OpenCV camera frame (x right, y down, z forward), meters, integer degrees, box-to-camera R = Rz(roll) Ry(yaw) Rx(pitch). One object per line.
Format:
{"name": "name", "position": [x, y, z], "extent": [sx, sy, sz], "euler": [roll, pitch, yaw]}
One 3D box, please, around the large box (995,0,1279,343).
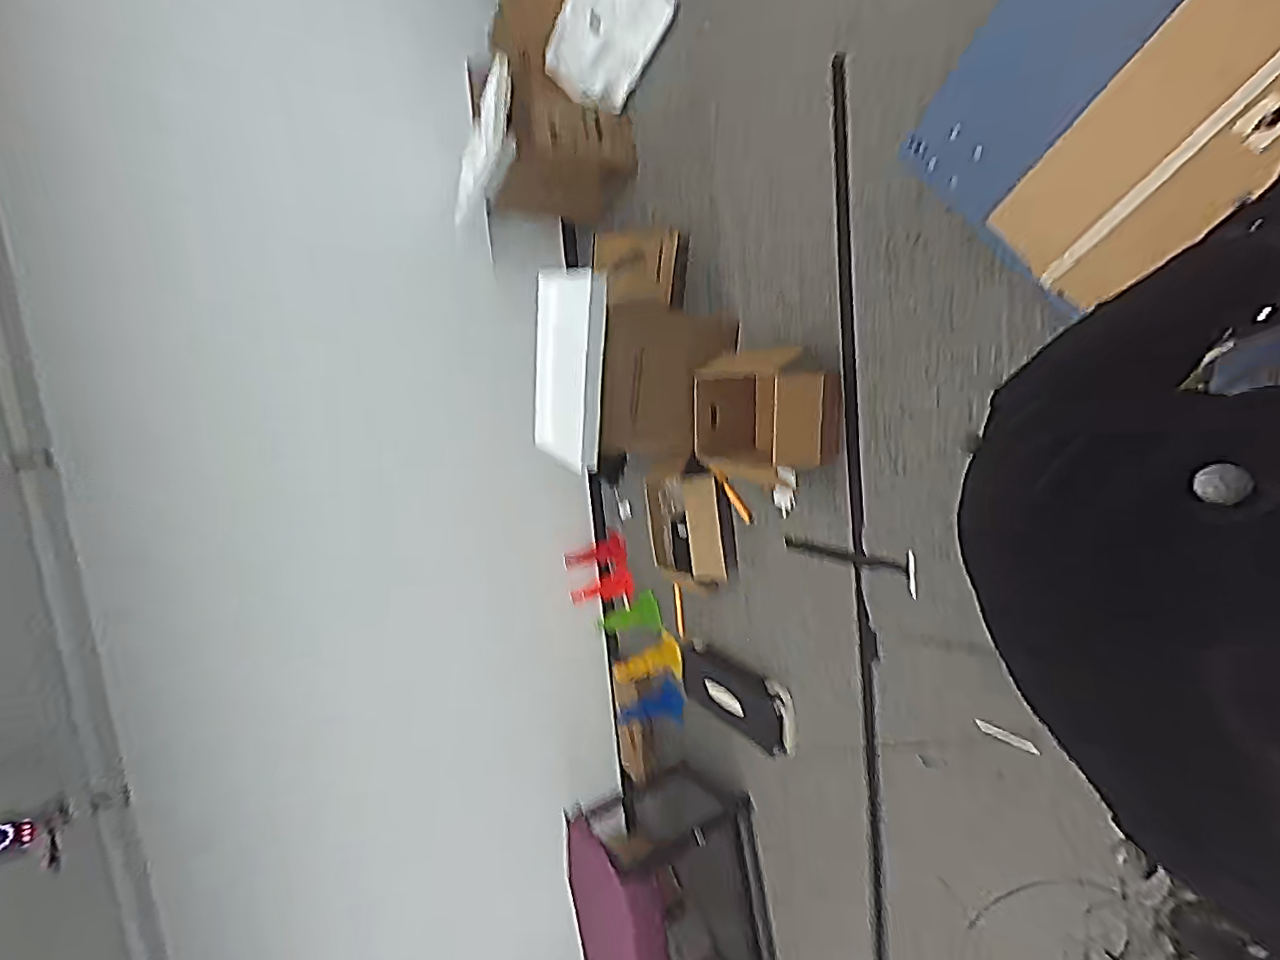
{"name": "large box", "position": [0.870, -0.460, 0.809], "extent": [0.320, 0.320, 0.408], "euler": [63, 144, 26]}
